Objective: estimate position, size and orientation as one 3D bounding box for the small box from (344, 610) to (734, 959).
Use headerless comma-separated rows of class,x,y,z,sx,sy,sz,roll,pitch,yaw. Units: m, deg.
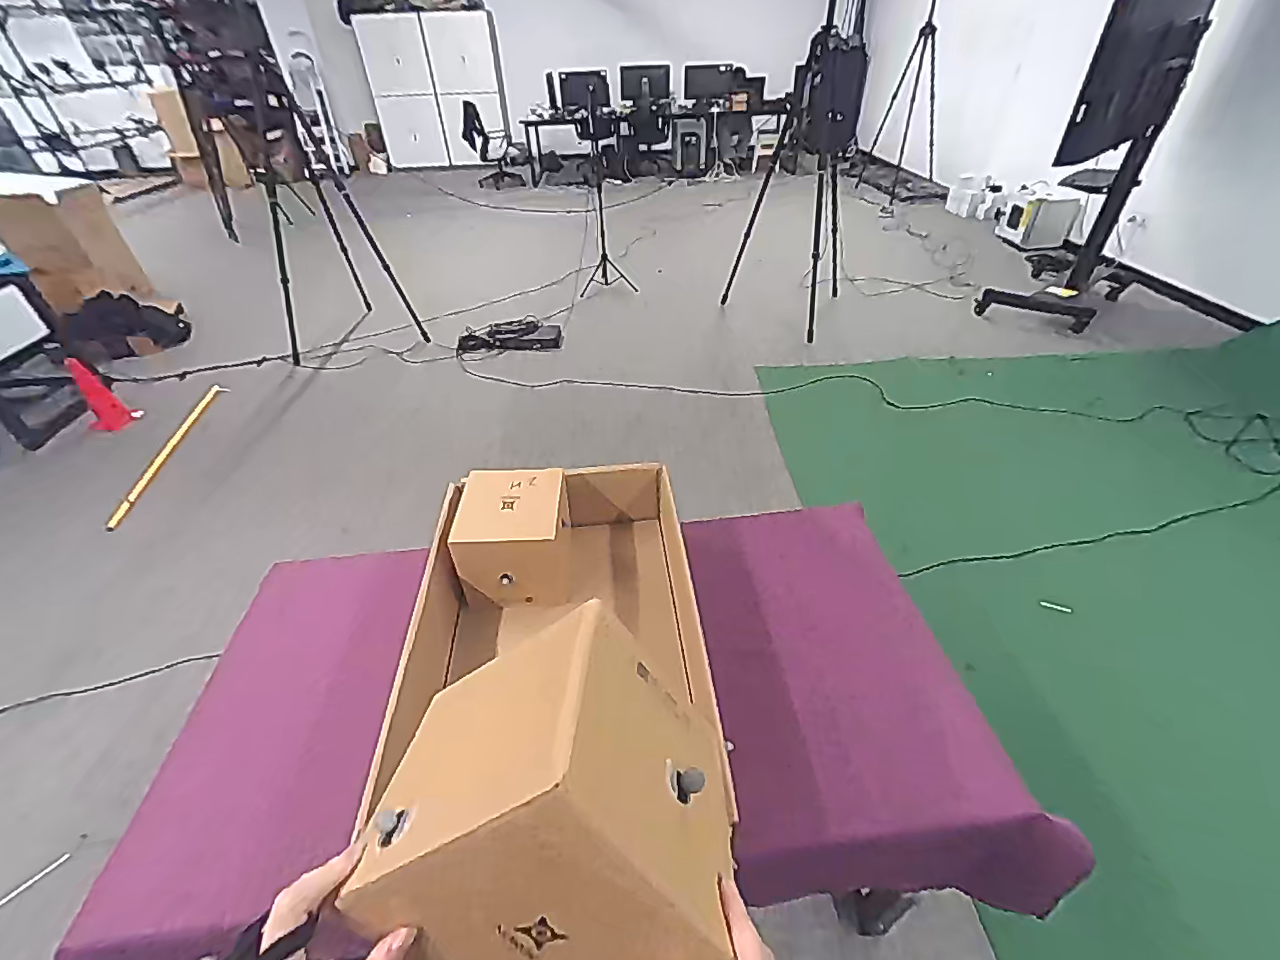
small box,-0.056,0.228,0.390,0.179,0.168,0.176,-34,14,16
